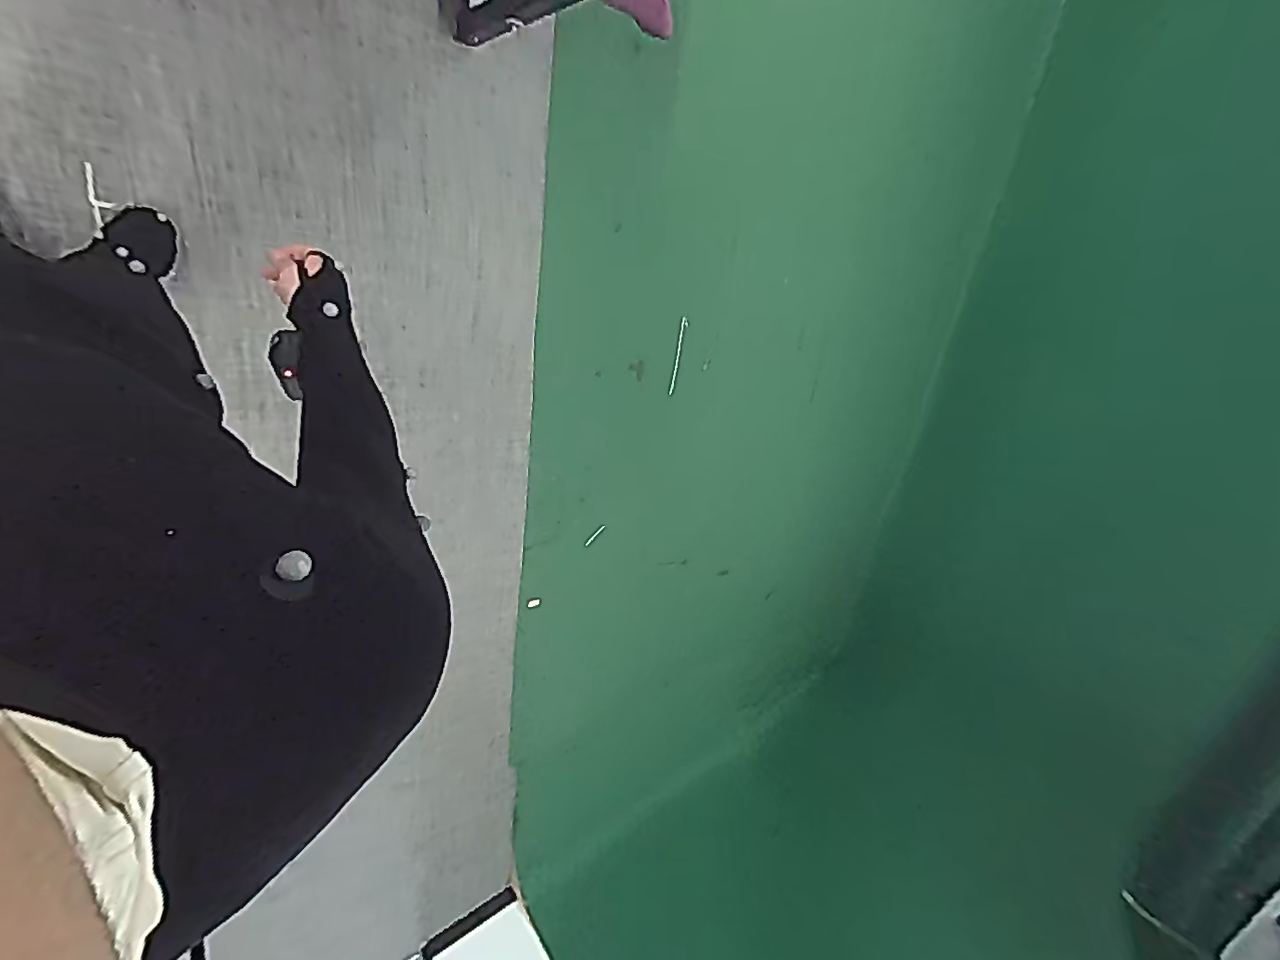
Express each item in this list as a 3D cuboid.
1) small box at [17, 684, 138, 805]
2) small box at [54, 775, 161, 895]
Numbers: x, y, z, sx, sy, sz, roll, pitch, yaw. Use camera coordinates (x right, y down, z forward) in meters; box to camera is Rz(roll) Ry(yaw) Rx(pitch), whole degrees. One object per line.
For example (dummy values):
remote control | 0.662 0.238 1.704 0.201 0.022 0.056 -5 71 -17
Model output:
small box | -1.372 0.639 1.332 0.179 0.176 0.168 -11 120 -37
small box | -1.419 0.939 1.449 0.179 0.176 0.168 -11 119 -38
